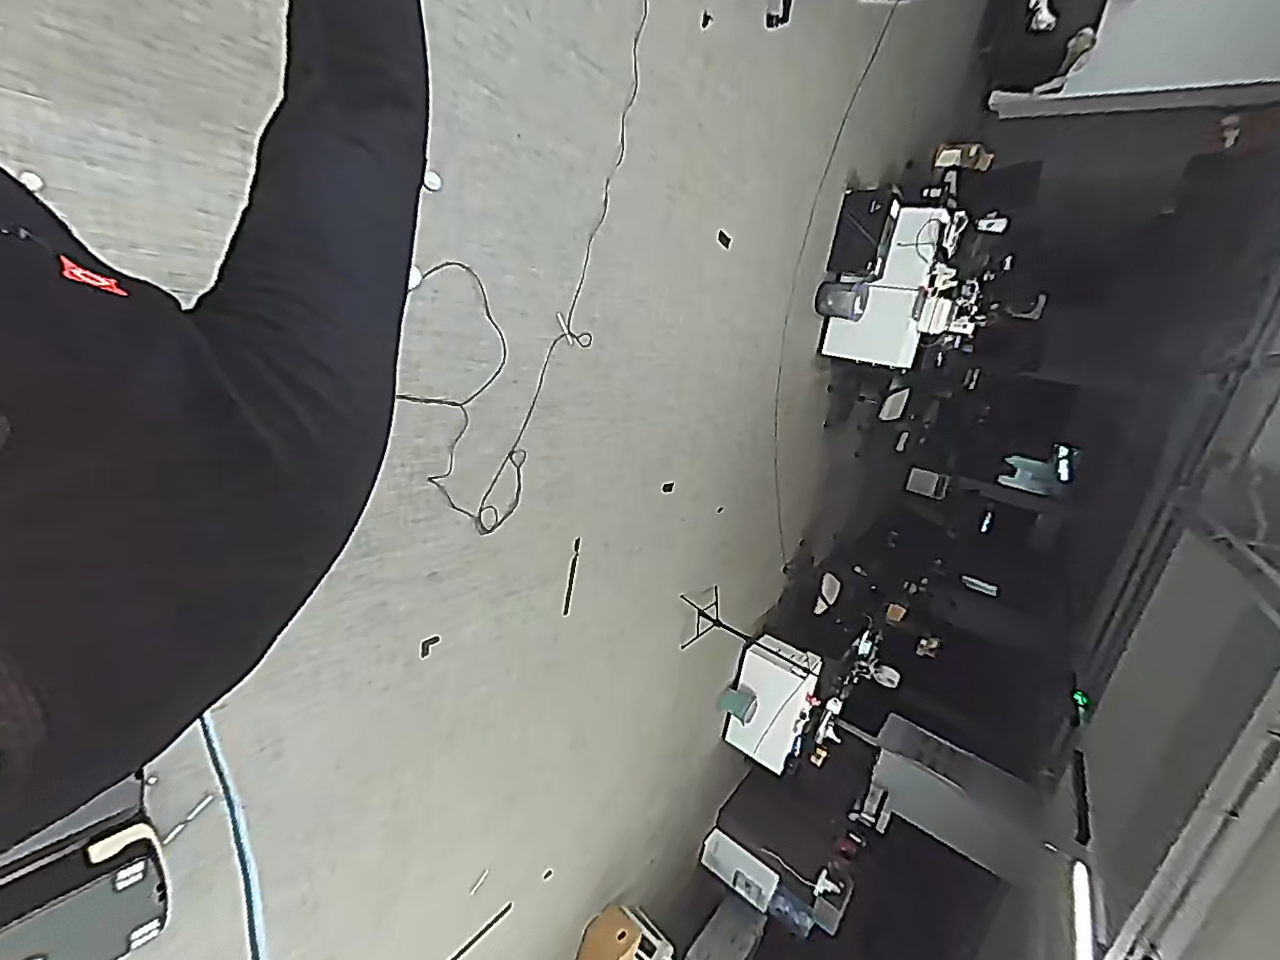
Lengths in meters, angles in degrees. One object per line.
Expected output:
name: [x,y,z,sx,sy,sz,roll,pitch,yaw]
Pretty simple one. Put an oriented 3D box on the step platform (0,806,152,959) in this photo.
step platform: [-1.438,1.004,1.083,0.684,0.204,0.286,-15,119,-49]
